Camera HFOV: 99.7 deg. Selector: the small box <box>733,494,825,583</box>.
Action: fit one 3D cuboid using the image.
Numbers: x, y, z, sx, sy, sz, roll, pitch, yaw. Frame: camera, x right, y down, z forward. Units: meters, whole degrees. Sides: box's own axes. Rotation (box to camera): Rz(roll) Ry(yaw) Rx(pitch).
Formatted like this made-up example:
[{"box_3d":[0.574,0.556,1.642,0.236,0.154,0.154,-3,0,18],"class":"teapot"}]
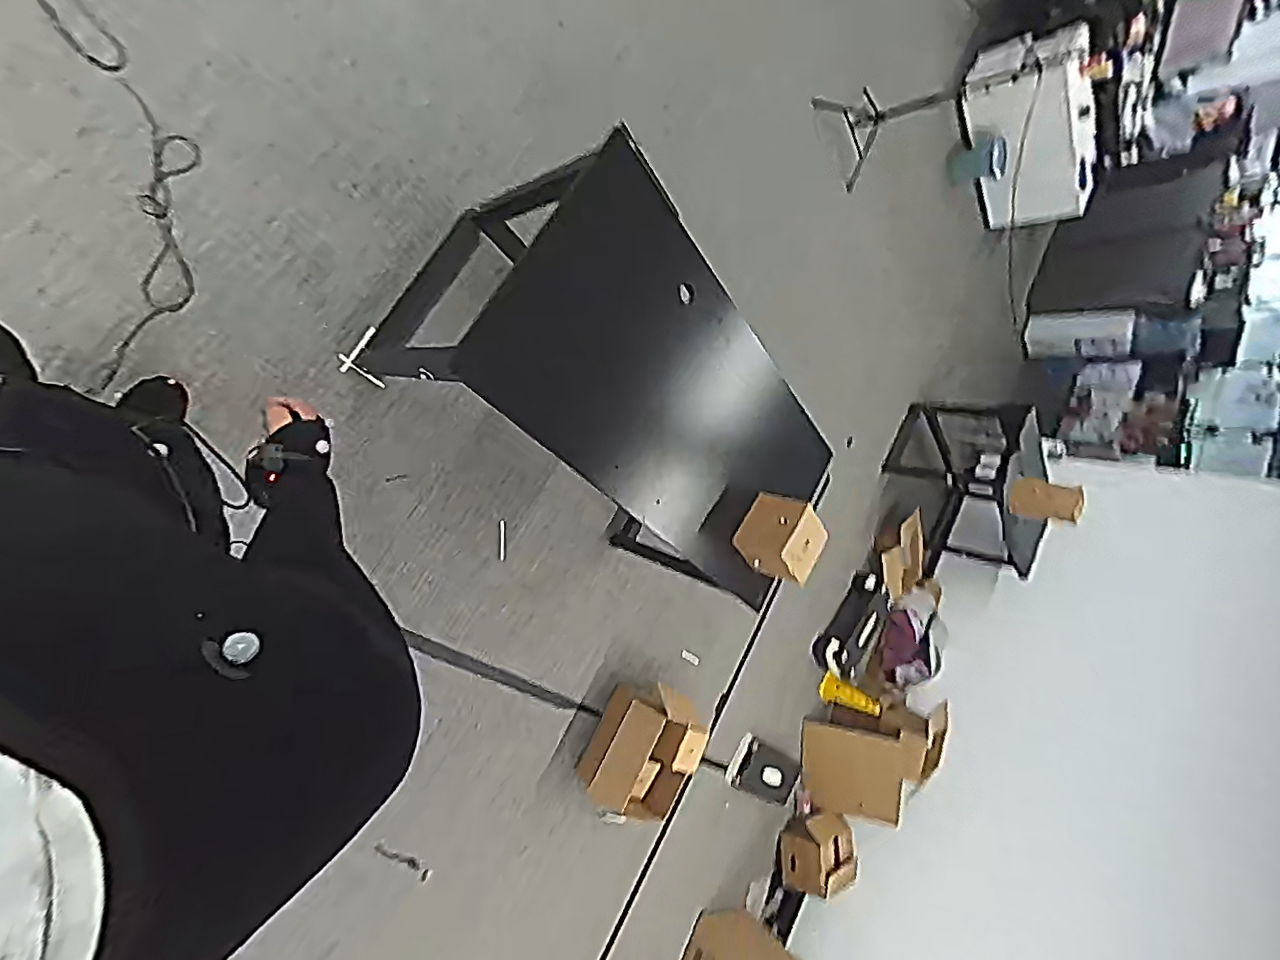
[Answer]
[{"box_3d":[0.397,0.161,1.547,0.179,0.176,0.168,-55,128,-19],"class":"small box"}]
